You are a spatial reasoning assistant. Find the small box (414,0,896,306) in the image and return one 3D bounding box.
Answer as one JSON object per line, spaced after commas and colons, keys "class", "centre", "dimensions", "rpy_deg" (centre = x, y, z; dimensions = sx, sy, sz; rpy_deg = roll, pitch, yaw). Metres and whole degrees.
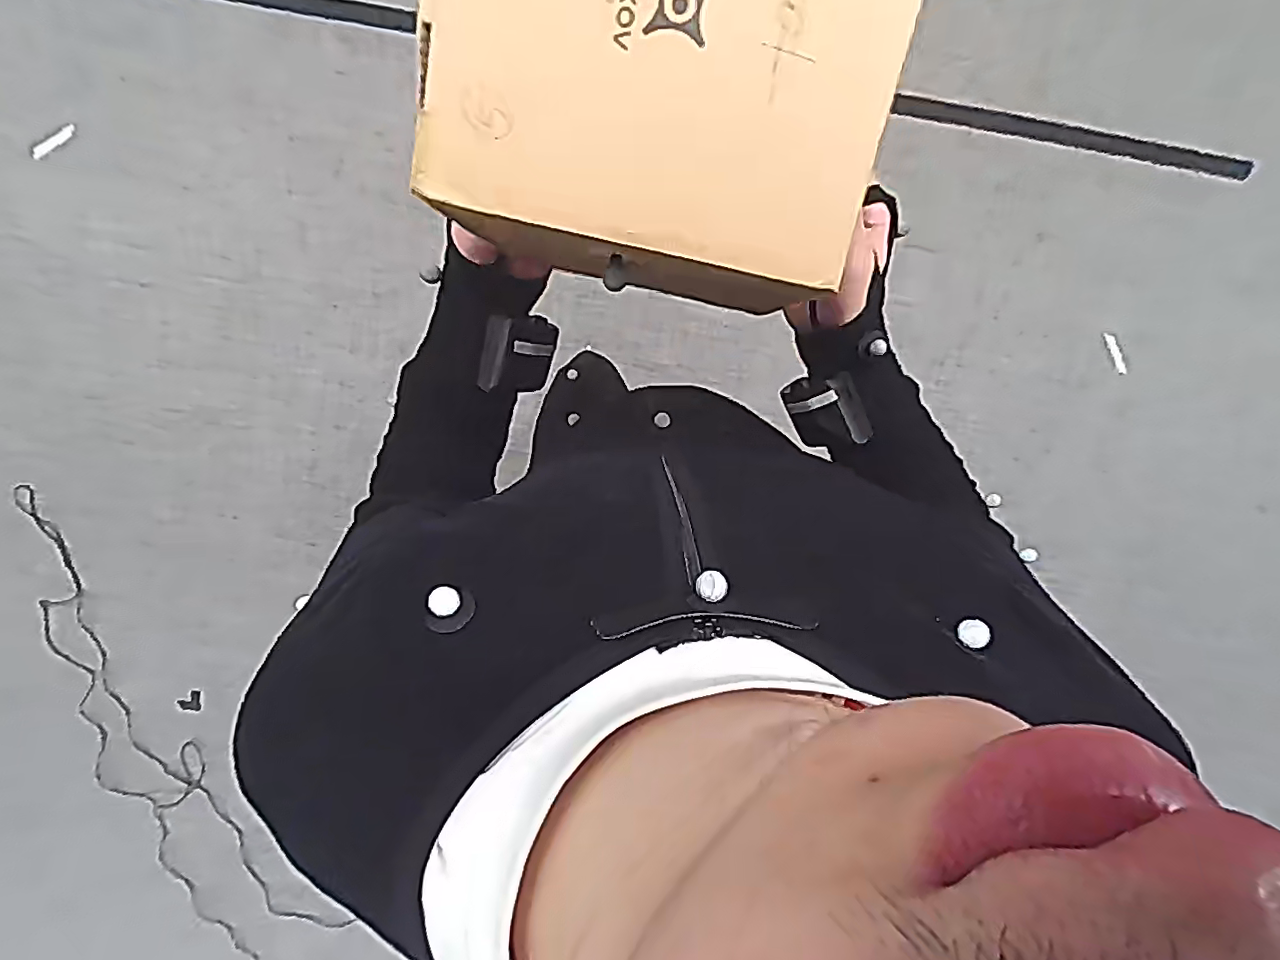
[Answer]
{"class": "small box", "centre": [0.011, -0.195, 0.283], "dimensions": [0.179, 0.176, 0.168], "rpy_deg": [12, 104, 0]}
